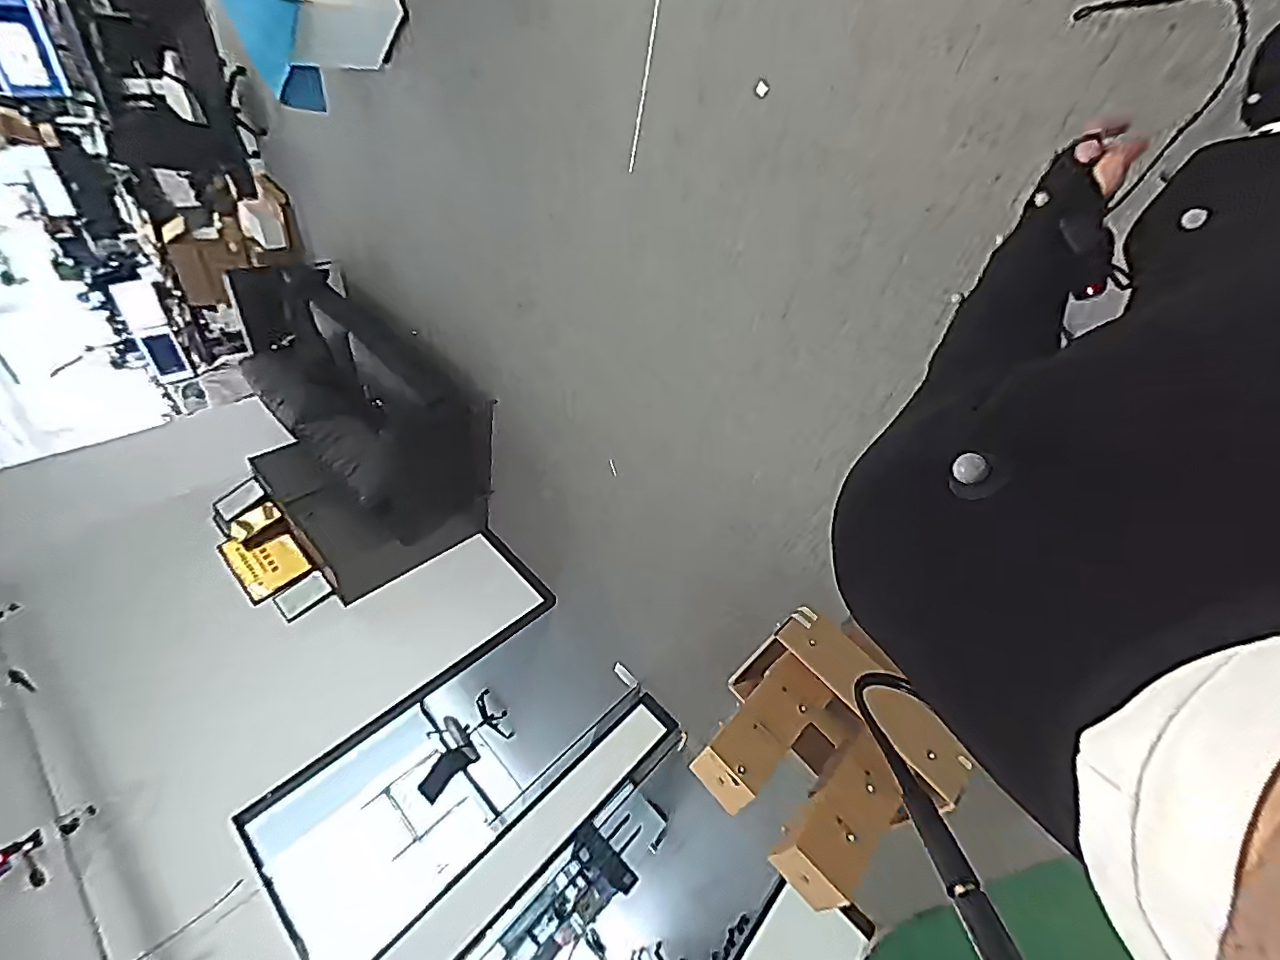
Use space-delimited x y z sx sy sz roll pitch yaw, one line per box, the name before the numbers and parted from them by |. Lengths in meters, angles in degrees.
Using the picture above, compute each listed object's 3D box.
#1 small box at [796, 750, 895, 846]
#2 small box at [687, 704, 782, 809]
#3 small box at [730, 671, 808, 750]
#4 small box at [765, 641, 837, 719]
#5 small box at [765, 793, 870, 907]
small box | 0.575 0.896 1.508 0.168 0.176 0.179 41 138 21
small box | 0.264 0.766 1.502 0.168 0.176 0.179 41 138 22
small box | 0.373 0.703 1.607 0.168 0.176 0.179 41 138 22
small box | 0.488 0.647 1.710 0.168 0.176 0.179 44 139 19
small box | 0.464 0.959 1.406 0.168 0.176 0.179 41 139 20
